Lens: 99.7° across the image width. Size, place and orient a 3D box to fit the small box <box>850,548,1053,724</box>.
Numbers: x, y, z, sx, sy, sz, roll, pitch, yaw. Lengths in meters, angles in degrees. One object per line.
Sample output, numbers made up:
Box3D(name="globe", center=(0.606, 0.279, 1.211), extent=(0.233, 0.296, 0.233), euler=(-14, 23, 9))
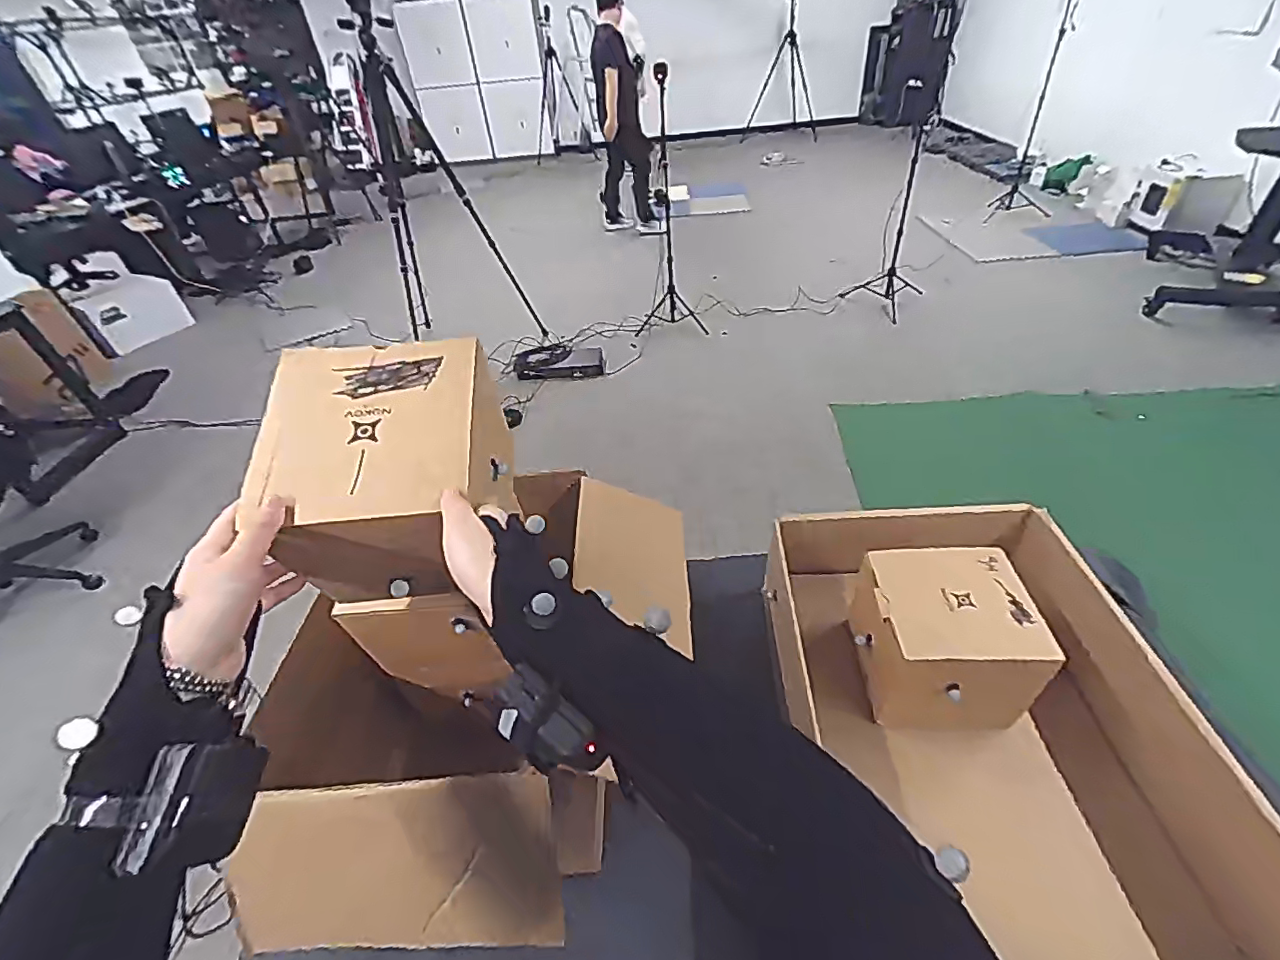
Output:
Box3D(name="small box", center=(0.390, 0.210, 0.720), extent=(0.179, 0.176, 0.168), euler=(-3, 43, 6))

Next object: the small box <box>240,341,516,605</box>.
Box3D(name="small box", center=(-0.210, -0.001, 0.493), extent=(0.168, 0.176, 0.179), euler=(-5, 61, -4))
